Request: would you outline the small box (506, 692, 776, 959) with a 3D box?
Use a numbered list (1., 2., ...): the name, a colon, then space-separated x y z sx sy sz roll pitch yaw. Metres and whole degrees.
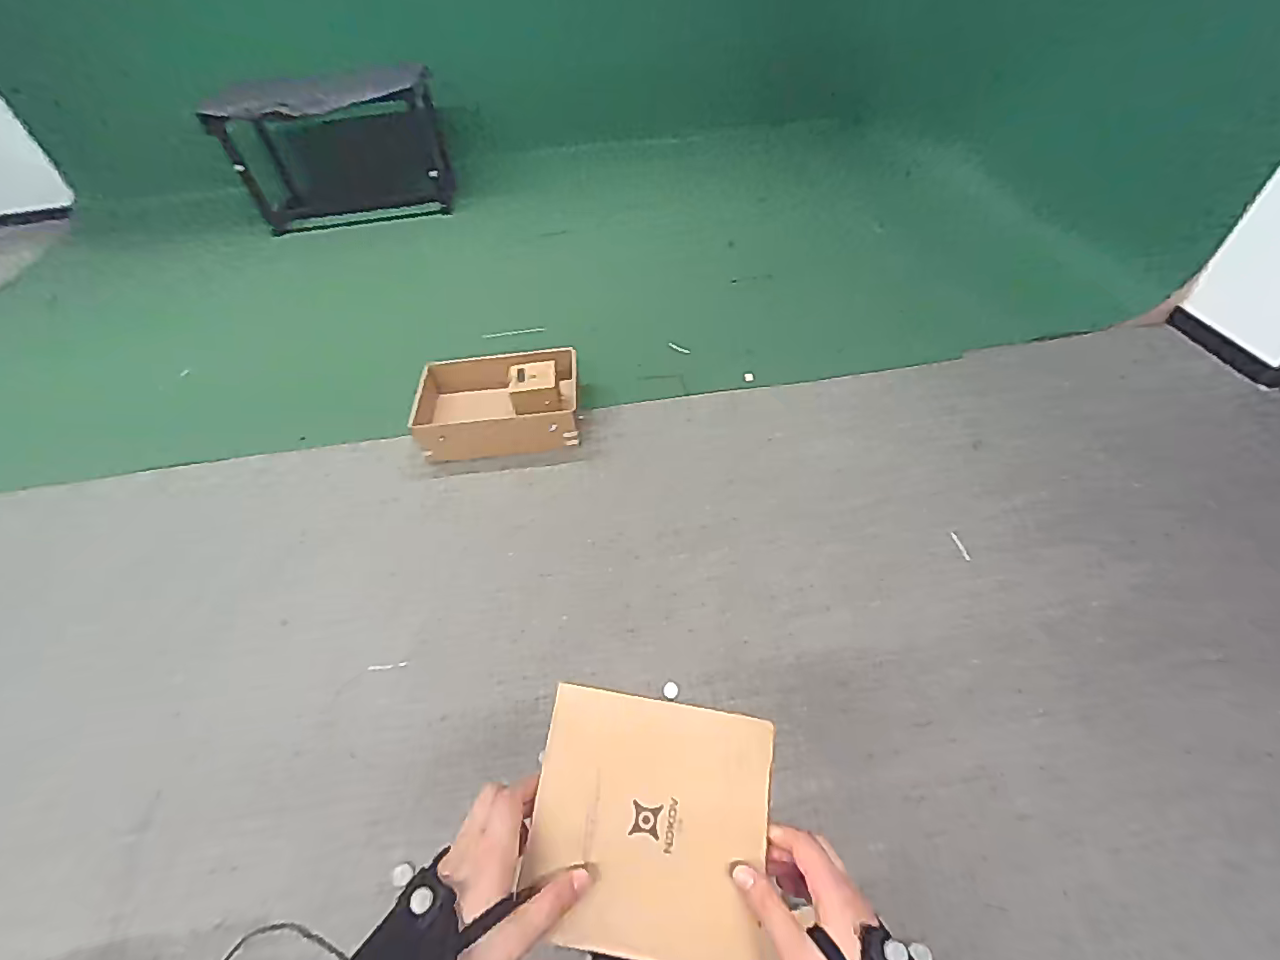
1. small box: 0.005 0.281 0.463 0.179 0.176 0.168 8 67 2
